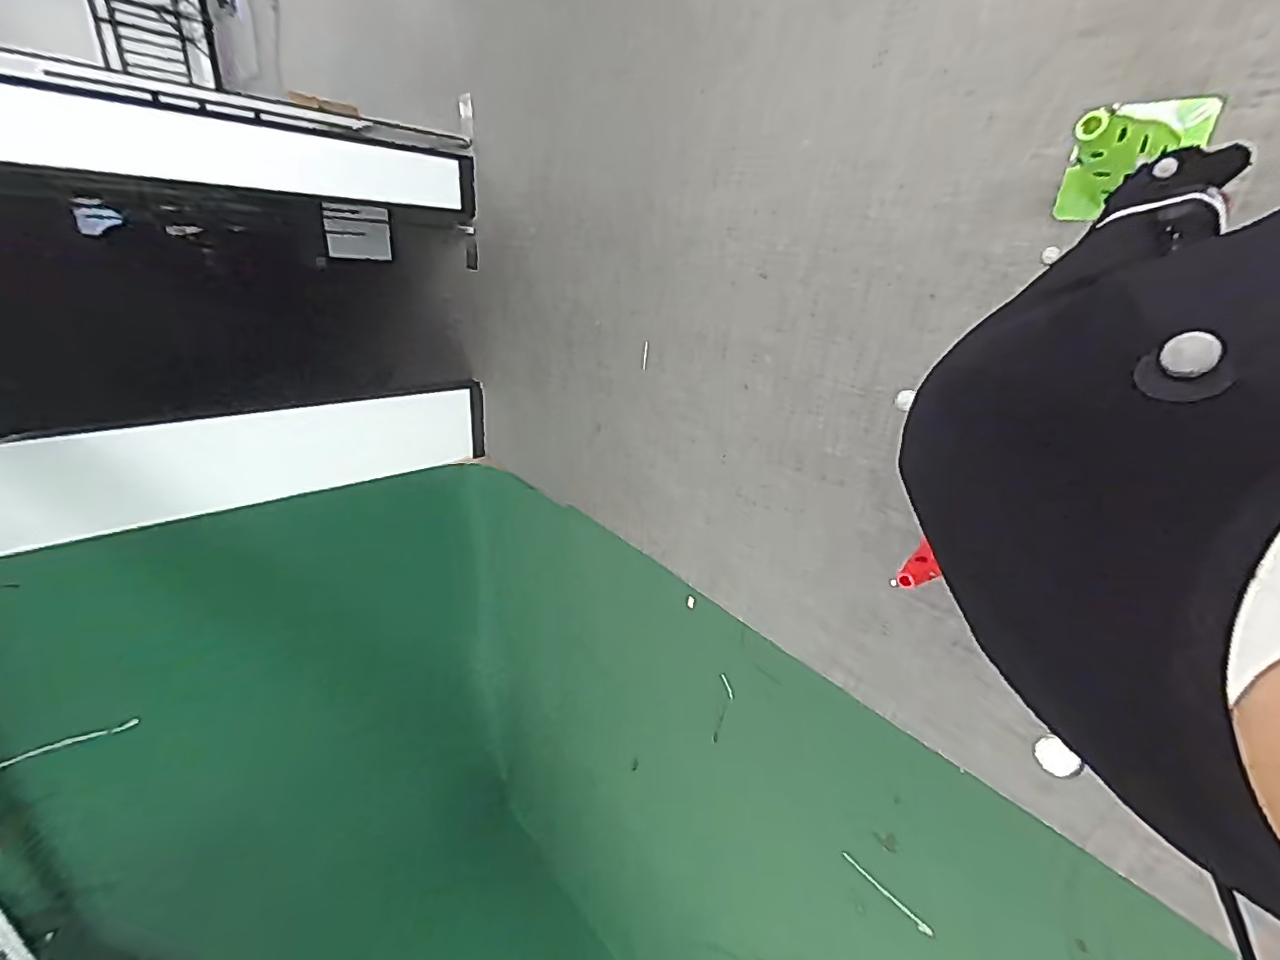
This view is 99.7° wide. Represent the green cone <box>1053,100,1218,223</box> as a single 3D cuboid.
[{"bbox_3d":[0.823,-0.572,0.938,0.202,0.368,0.200,26,121,41],"label":"green cone"}]
